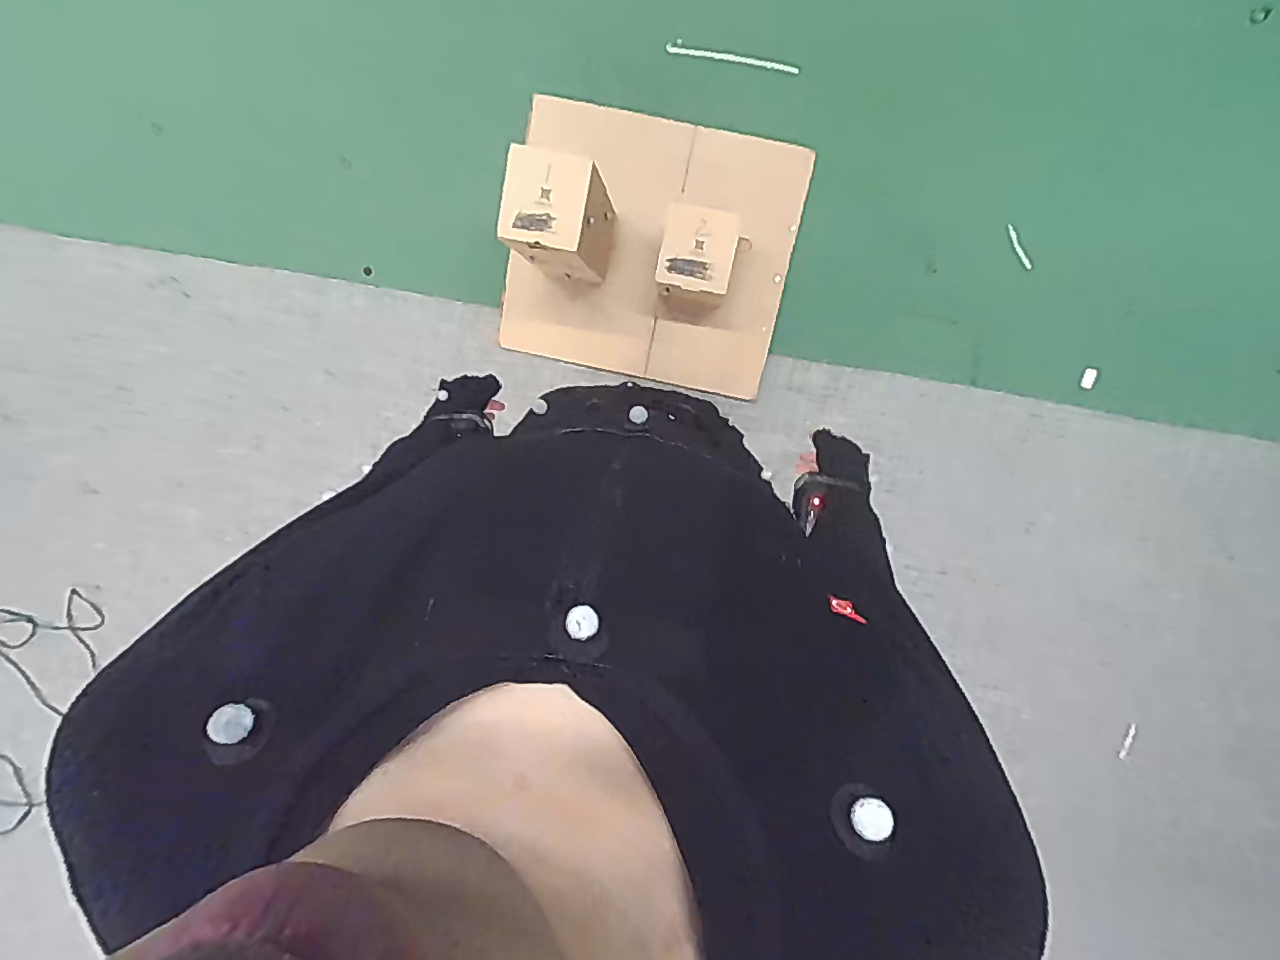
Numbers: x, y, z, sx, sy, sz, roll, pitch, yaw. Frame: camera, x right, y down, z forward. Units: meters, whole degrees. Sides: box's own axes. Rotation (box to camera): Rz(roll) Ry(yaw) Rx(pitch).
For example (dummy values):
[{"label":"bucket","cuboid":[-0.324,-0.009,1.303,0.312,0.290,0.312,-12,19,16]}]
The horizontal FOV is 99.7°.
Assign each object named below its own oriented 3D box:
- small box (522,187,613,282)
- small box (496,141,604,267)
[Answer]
[{"label":"small box","cuboid":[-0.164,-0.584,1.273,0.168,0.176,0.179,11,102,3]},{"label":"small box","cuboid":[-0.178,-0.555,1.112,0.168,0.176,0.179,13,100,2]}]
